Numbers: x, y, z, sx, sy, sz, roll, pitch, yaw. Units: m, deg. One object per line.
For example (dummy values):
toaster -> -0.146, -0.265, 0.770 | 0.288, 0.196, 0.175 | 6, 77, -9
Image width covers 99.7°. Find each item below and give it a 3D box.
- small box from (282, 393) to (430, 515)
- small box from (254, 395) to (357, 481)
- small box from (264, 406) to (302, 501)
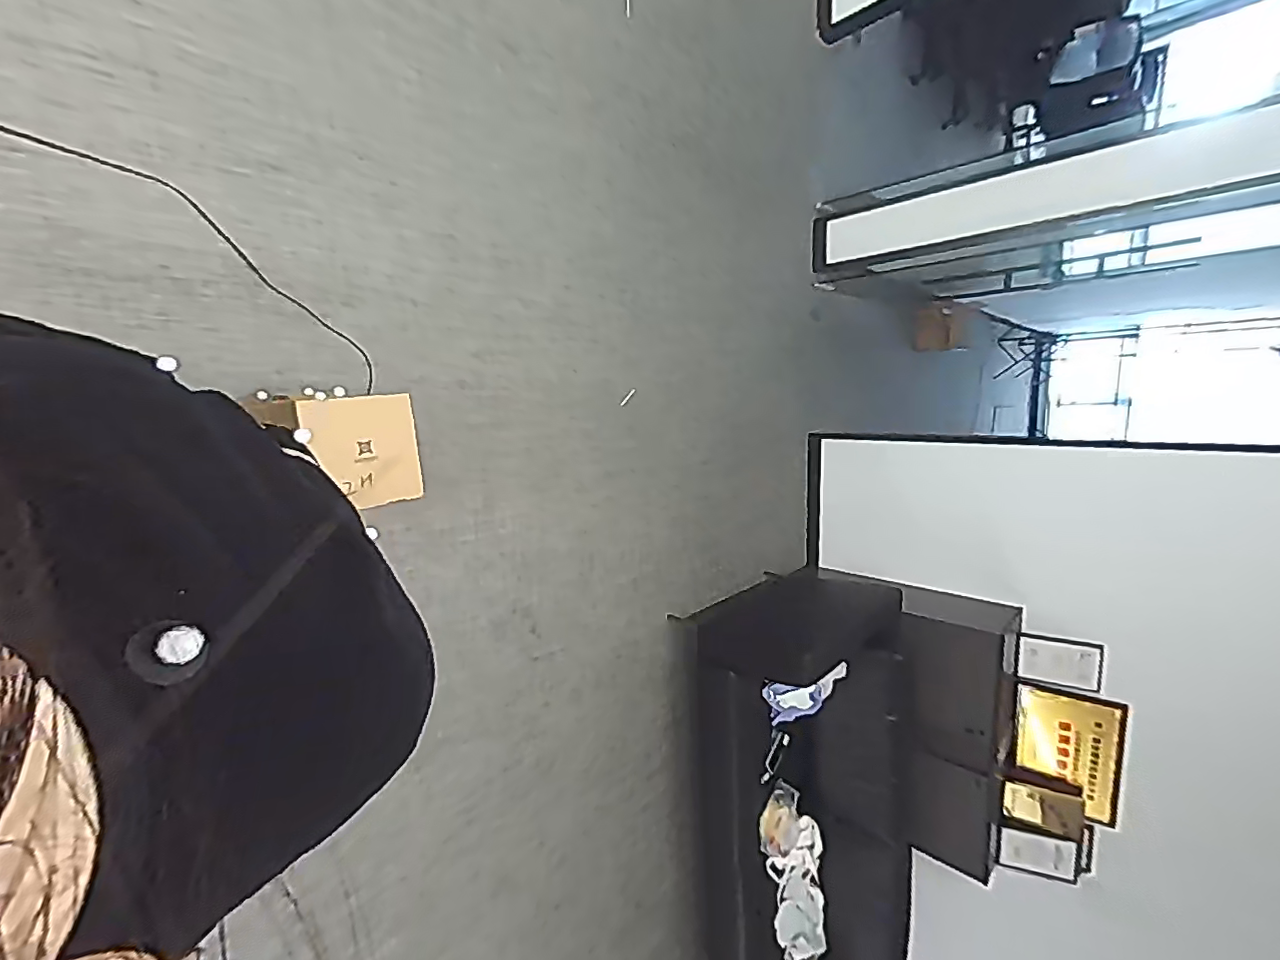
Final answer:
small box -> -0.473, -0.049, 0.899 | 0.168, 0.176, 0.179 | -13, 104, -43
small box -> -0.691, -0.084, 1.141 | 0.168, 0.176, 0.179 | -15, 106, -42
small box -> -0.586, -0.062, 1.018 | 0.179, 0.176, 0.168 | -15, 105, -44
